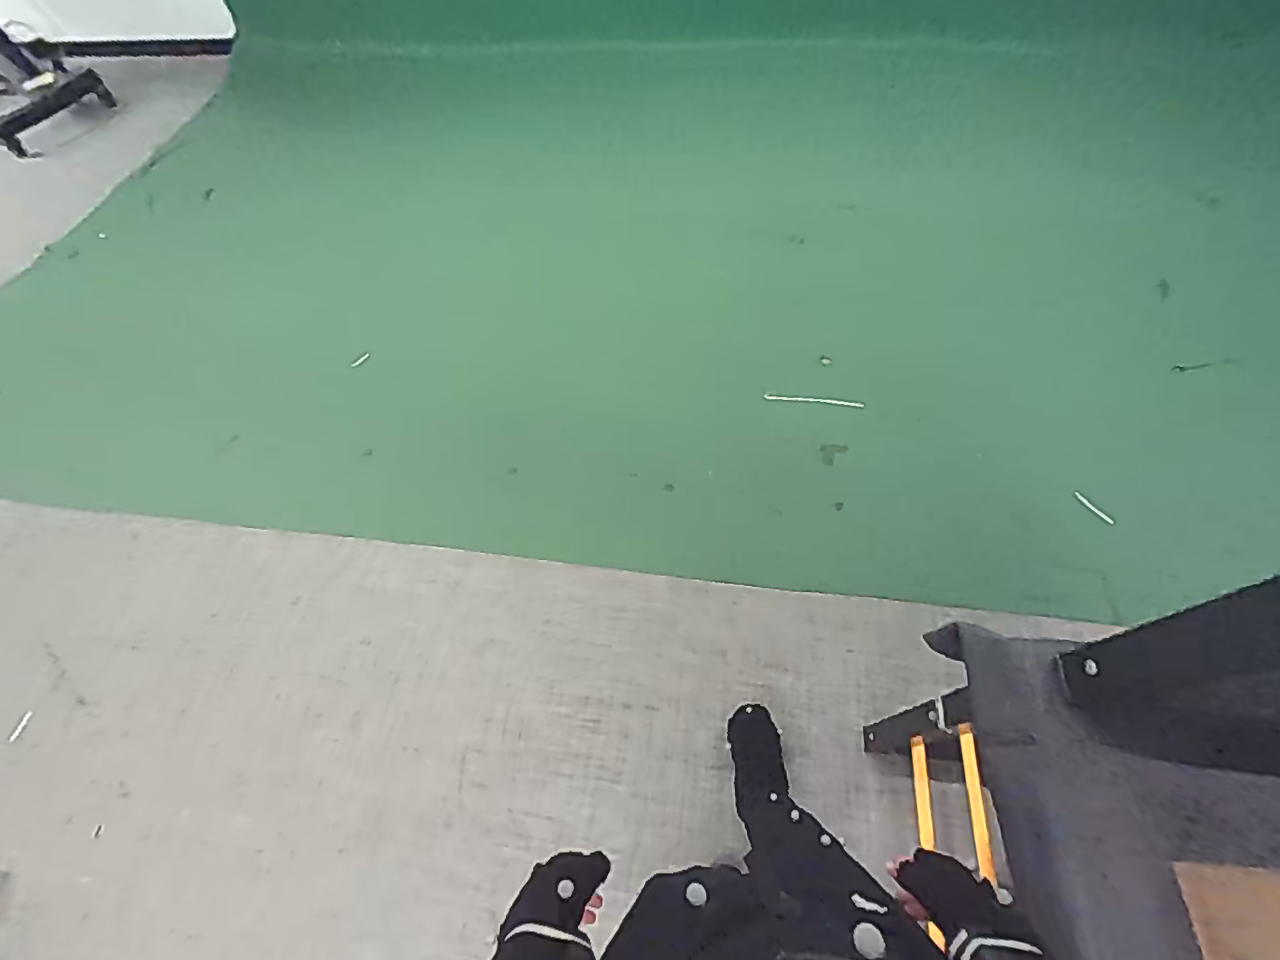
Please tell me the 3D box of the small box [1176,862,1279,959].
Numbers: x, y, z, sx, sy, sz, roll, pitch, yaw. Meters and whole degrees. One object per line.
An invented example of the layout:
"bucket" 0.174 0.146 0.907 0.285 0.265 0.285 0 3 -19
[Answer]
"small box" 0.612 0.420 0.433 0.179 0.176 0.168 3 60 6
